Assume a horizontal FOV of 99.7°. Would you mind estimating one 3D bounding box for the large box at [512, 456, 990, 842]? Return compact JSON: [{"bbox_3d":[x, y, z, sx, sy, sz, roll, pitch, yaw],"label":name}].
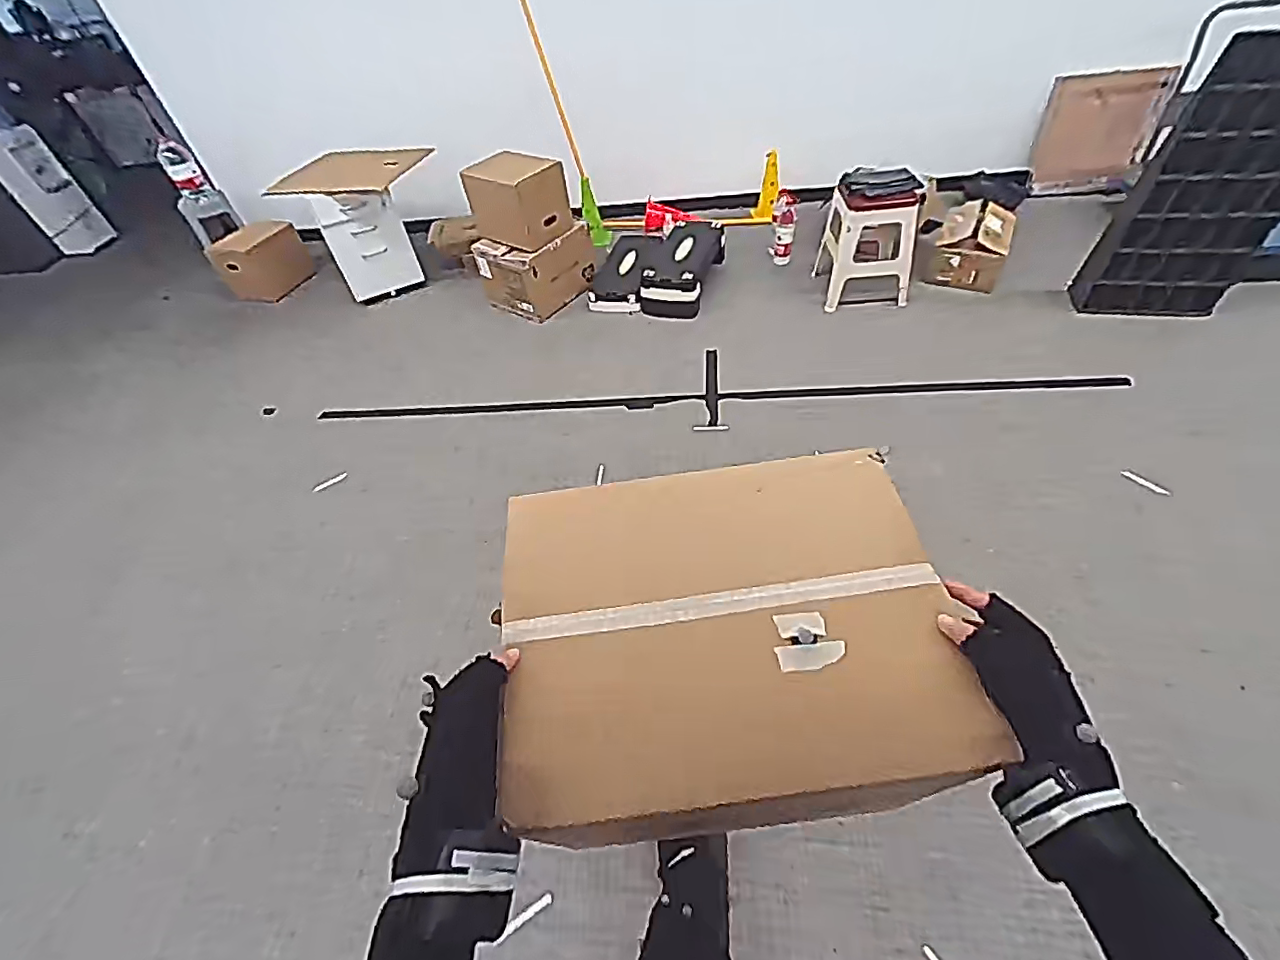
[{"bbox_3d":[0.084,0.210,0.643,0.408,0.320,0.320,-8,54,0],"label":"large box"}]
